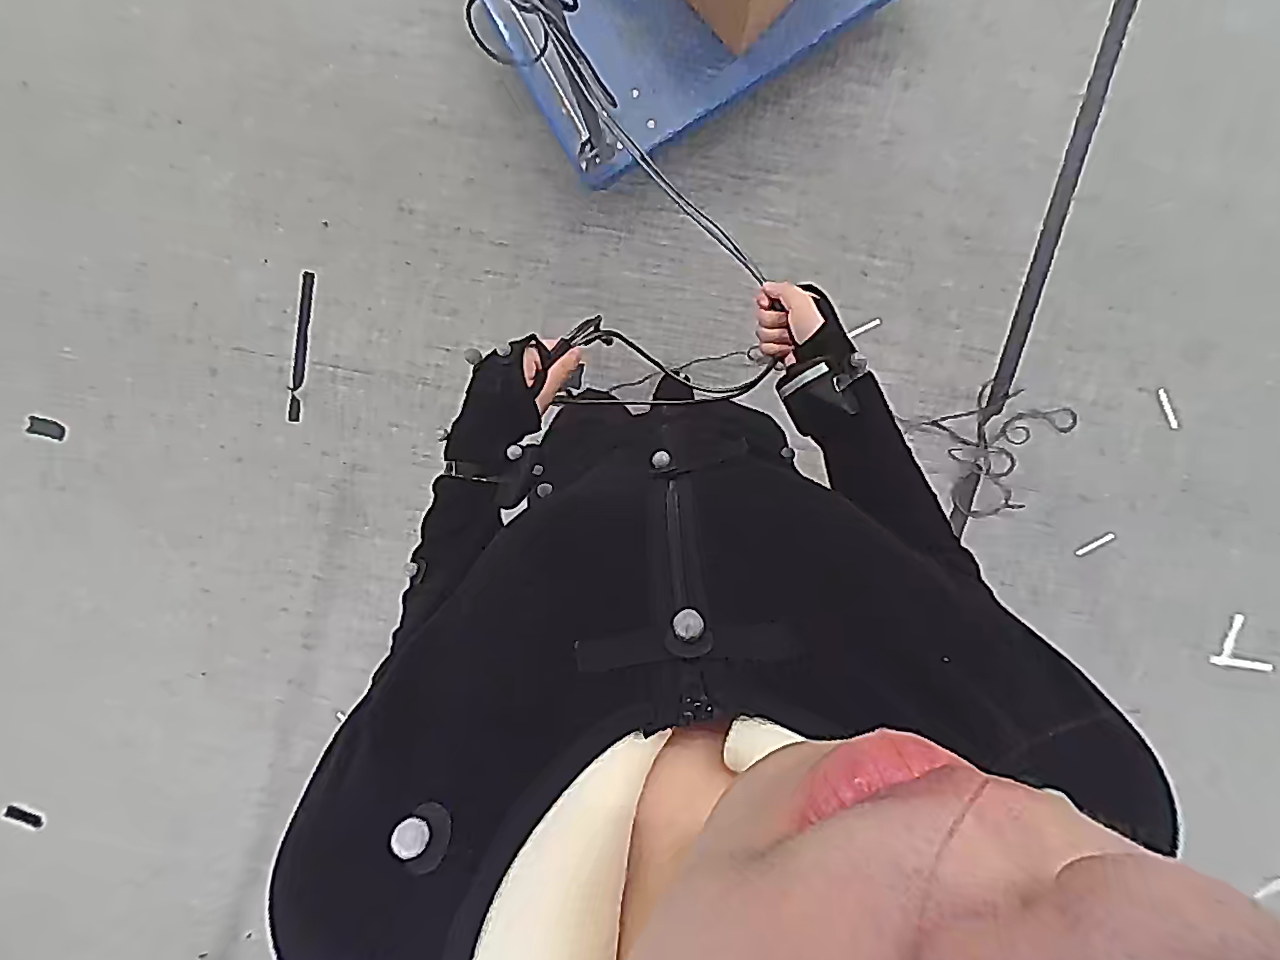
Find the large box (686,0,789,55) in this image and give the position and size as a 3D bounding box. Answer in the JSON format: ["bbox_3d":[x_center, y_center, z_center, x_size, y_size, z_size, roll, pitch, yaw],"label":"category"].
[{"bbox_3d":[0.166,-1.099,0.947,0.408,0.320,0.320,44,100,-7],"label":"large box"}]
